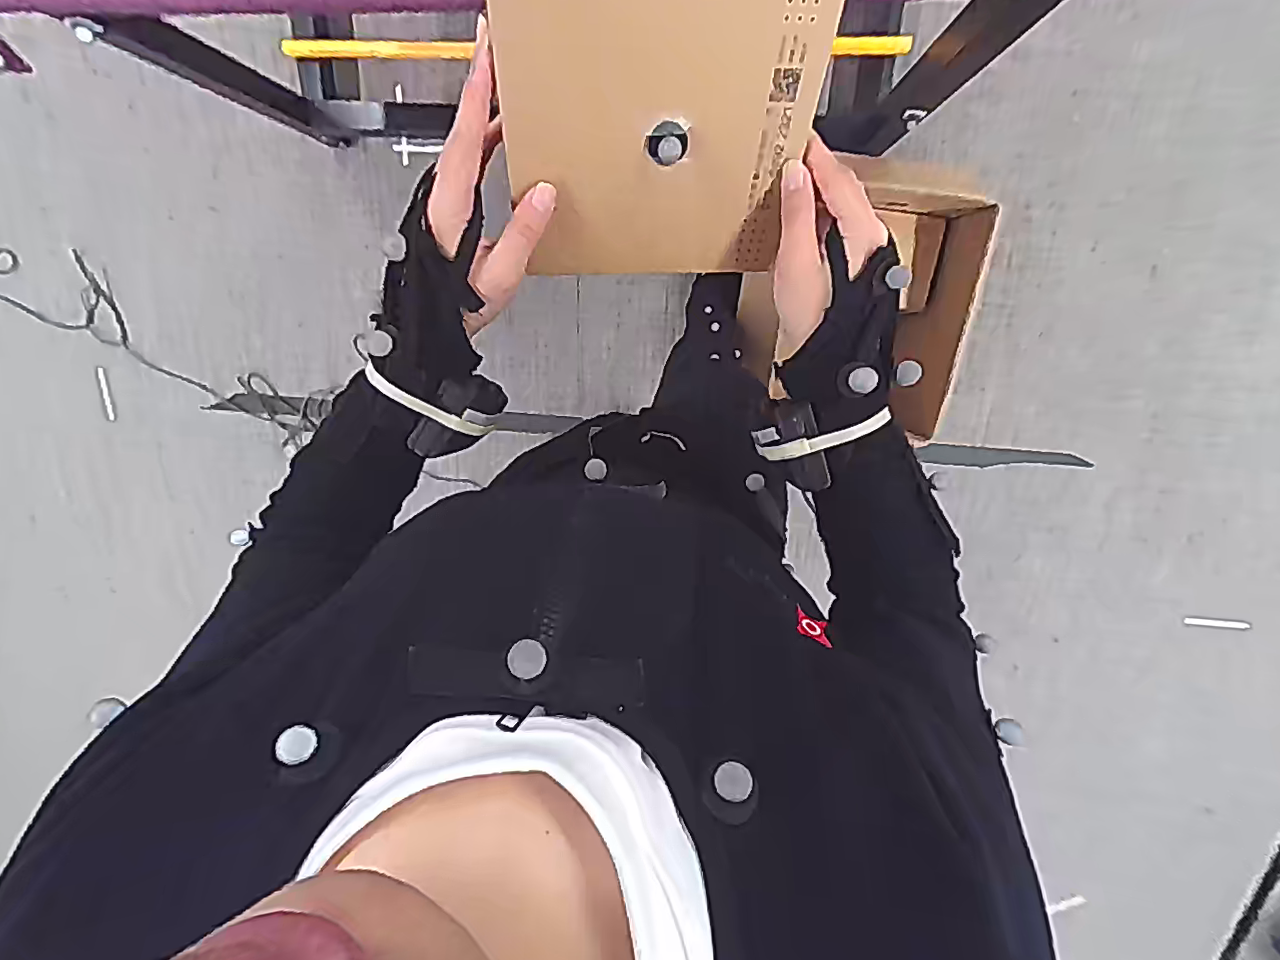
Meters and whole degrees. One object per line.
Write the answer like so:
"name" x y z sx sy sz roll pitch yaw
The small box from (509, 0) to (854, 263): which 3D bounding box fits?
"small box" 0.010 -0.258 0.336 0.176 0.179 0.168 -4 141 -8
